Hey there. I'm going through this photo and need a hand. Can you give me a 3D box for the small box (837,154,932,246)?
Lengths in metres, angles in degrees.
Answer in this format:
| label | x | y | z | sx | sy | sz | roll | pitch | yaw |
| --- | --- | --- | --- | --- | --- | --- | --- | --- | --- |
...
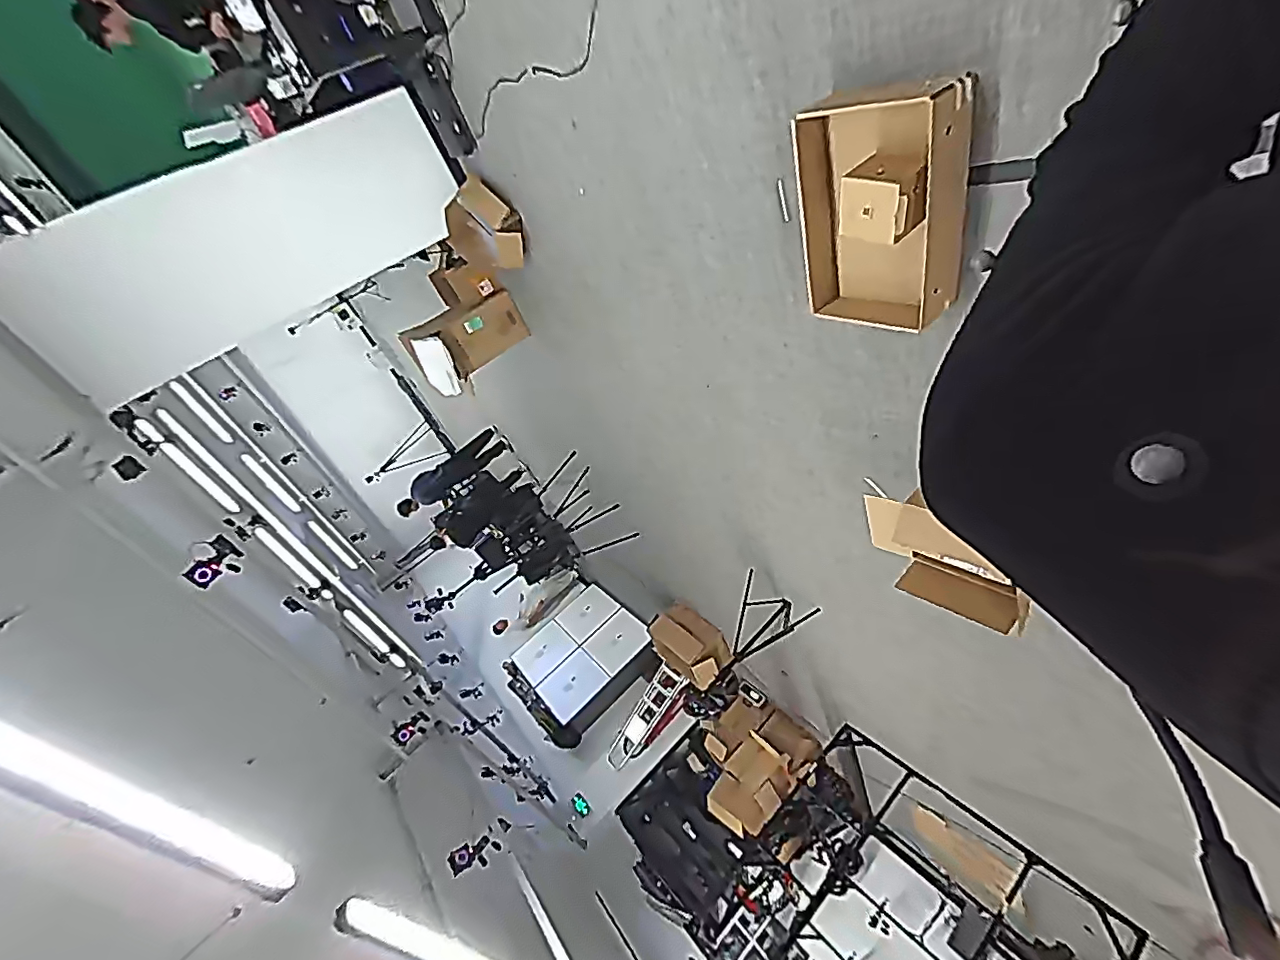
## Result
| label | x | y | z | sx | sy | sz | roll | pitch | yaw |
| --- | --- | --- | --- | --- | --- | --- | --- | --- | --- |
| small box | 0.676 | -0.782 | 1.500 | 0.179 | 0.176 | 0.168 | 34 | 155 | 37 |
